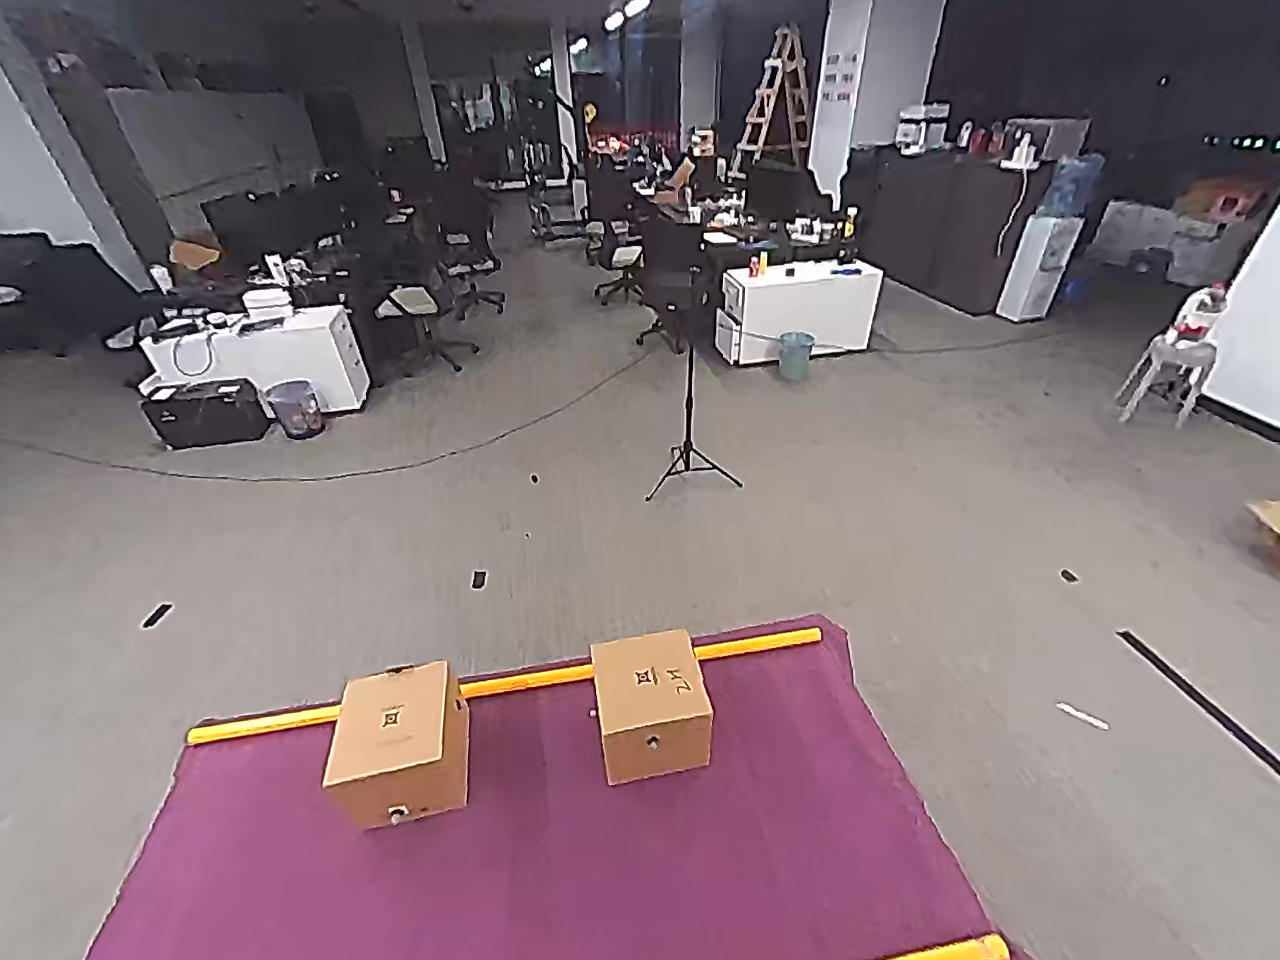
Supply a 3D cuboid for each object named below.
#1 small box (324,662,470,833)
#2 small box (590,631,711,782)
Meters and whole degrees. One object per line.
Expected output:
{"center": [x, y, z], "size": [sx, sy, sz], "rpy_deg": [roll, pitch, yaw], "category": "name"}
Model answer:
{"center": [-0.381, 0.434, 0.886], "size": [0.168, 0.176, 0.179], "rpy_deg": [-9, 37, -9], "category": "small box"}
{"center": [0.016, 0.389, 0.927], "size": [0.179, 0.176, 0.168], "rpy_deg": [-7, 37, -7], "category": "small box"}
